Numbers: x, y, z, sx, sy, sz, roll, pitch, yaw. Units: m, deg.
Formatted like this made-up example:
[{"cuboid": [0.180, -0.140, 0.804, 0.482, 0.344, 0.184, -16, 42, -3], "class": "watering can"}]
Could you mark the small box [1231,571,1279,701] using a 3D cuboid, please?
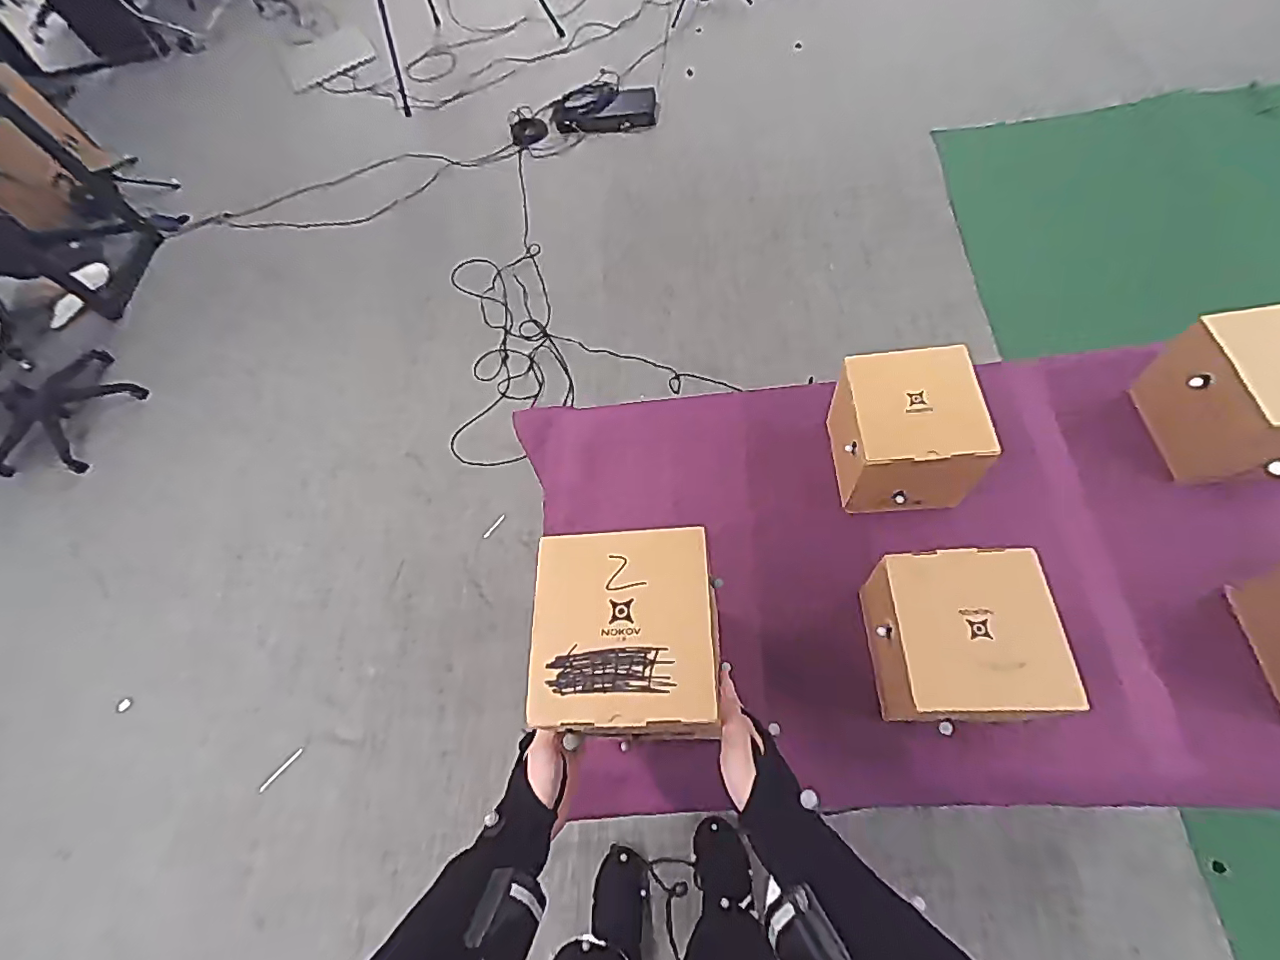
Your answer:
[{"cuboid": [0.831, 0.176, 0.591, 0.168, 0.176, 0.179, -4, 60, 10], "class": "small box"}]

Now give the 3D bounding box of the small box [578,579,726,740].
[{"cuboid": [0.024, 0.239, 0.701, 0.168, 0.176, 0.179, -4, 62, 7], "class": "small box"}]

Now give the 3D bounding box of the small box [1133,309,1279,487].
[{"cuboid": [0.836, -0.109, 0.735, 0.168, 0.176, 0.179, -6, 63, 10], "class": "small box"}]

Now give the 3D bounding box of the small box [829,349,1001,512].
[{"cuboid": [0.387, -0.067, 0.799, 0.168, 0.176, 0.179, -4, 64, 7], "class": "small box"}]
